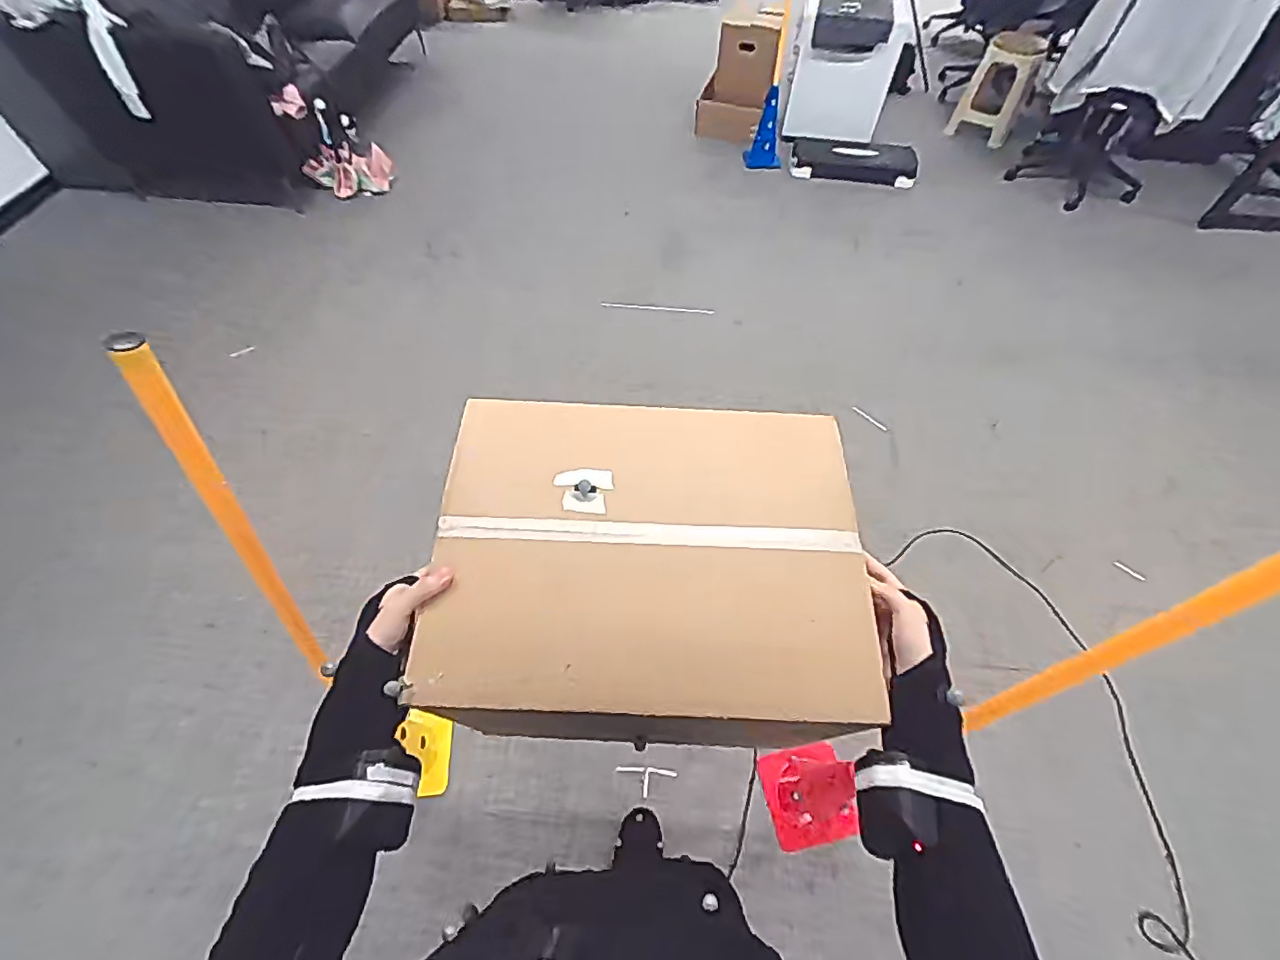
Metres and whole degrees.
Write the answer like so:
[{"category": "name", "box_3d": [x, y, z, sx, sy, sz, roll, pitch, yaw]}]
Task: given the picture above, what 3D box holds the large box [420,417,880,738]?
[{"category": "large box", "box_3d": [0.011, 0.138, 0.664, 0.408, 0.320, 0.320, 2, 59, 0]}]
